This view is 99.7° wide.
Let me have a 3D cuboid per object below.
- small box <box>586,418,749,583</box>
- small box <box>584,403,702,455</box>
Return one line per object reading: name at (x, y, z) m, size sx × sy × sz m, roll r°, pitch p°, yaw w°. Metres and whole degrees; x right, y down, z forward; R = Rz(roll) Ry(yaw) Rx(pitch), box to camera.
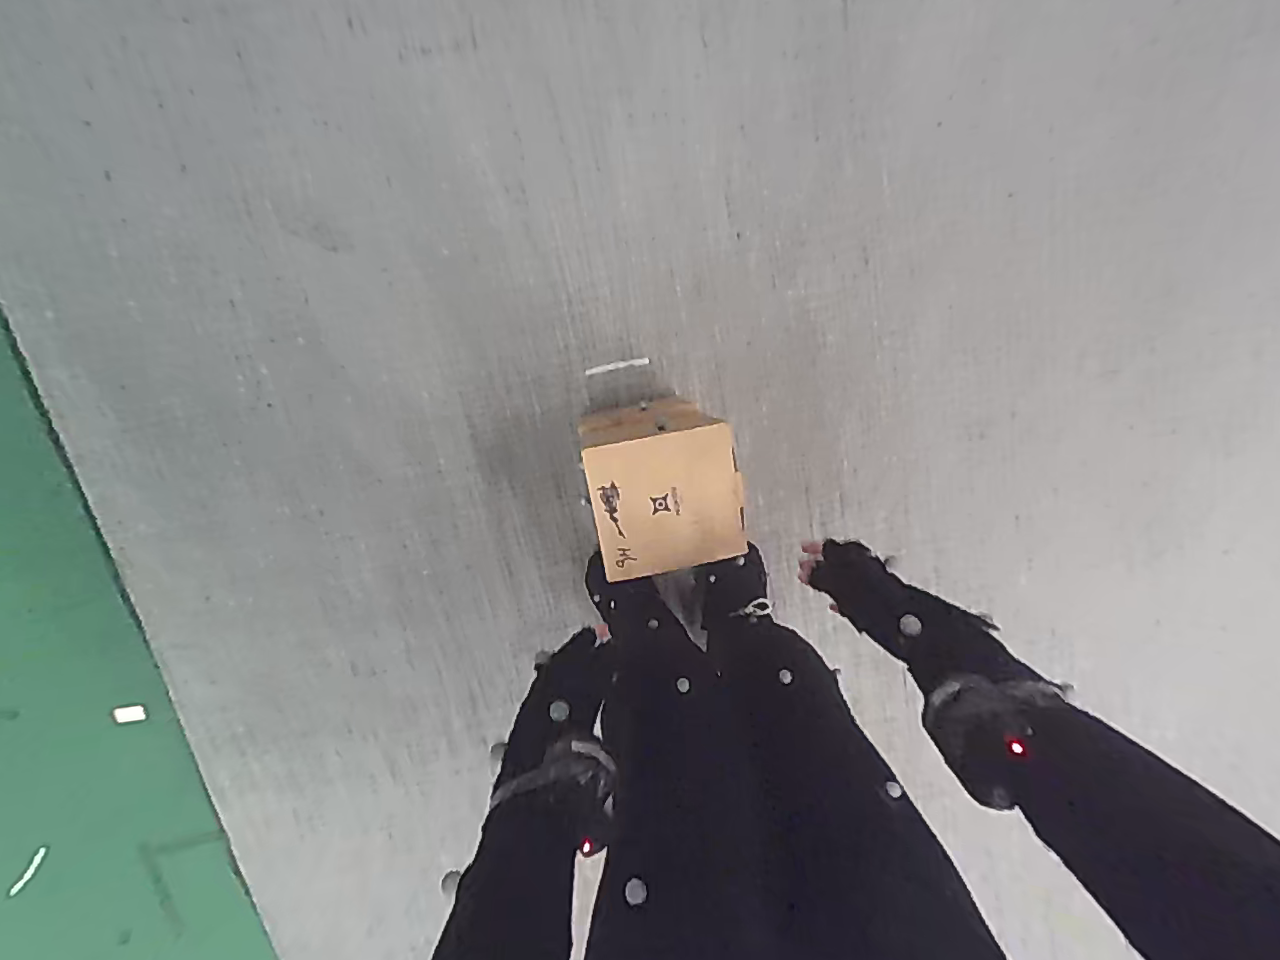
small box at (0.028, 0.016, 0.716) m, size 0.179 × 0.176 × 0.168 m, roll -10°, pitch 102°, yaw -4°
small box at (0.010, -0.027, 0.873) m, size 0.179 × 0.176 × 0.168 m, roll -12°, pitch 102°, yaw -2°
